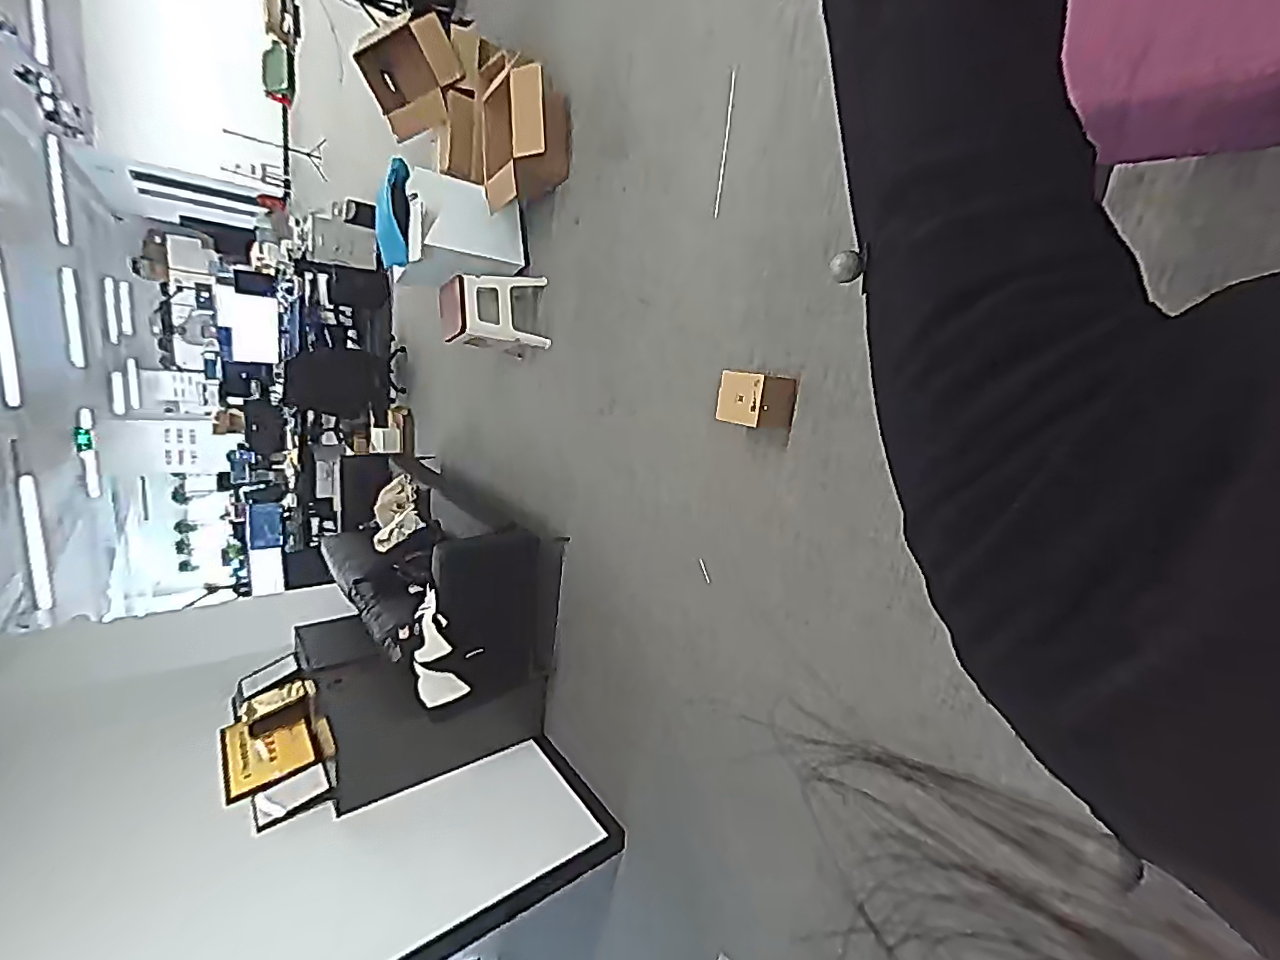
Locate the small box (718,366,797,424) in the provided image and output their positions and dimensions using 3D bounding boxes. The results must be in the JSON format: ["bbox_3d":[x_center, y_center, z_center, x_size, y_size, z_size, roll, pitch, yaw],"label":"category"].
[{"bbox_3d":[0.387,-0.277,1.782,0.179,0.176,0.168,22,110,49],"label":"small box"}]
